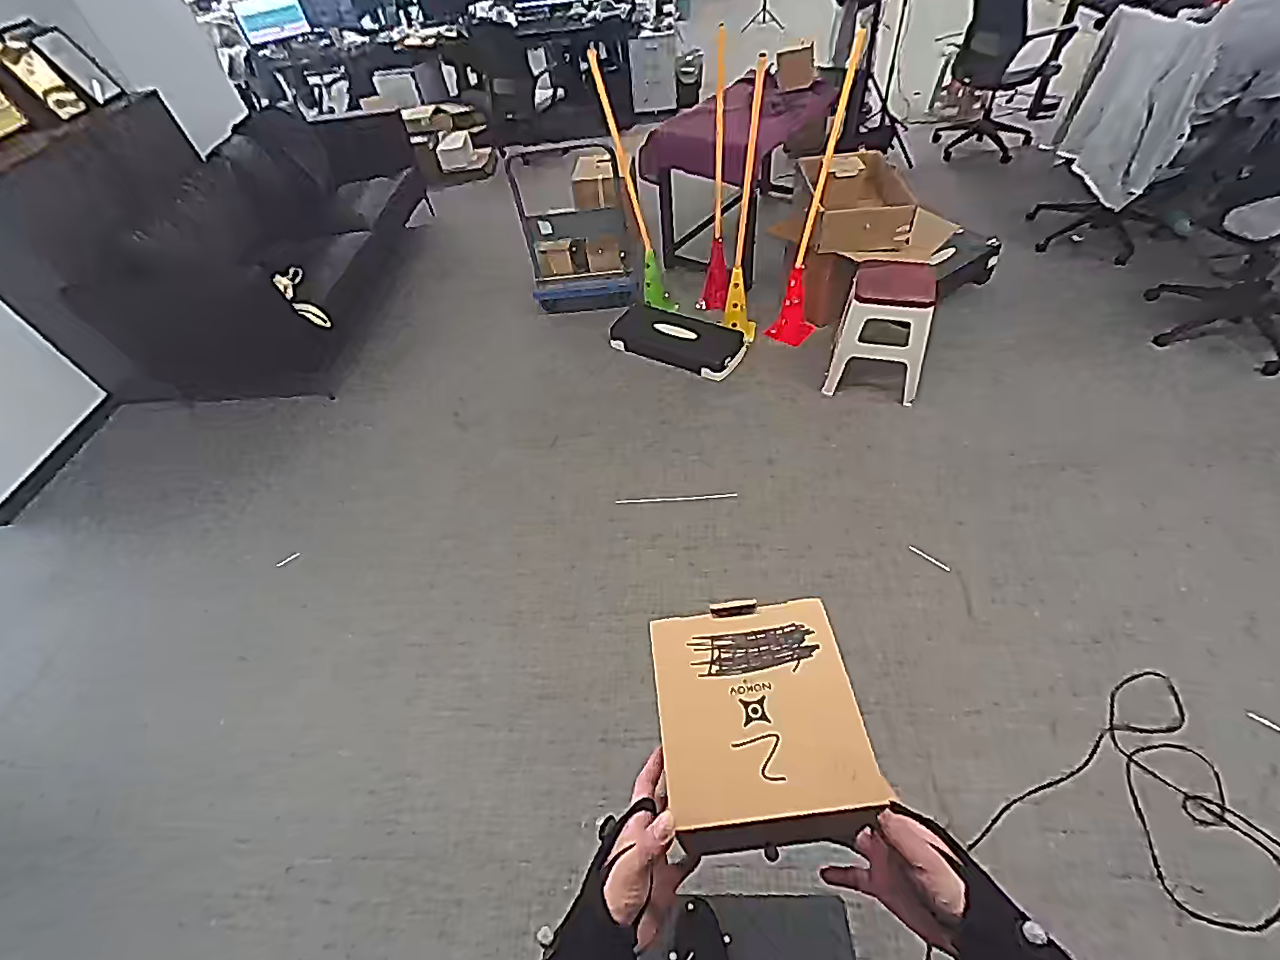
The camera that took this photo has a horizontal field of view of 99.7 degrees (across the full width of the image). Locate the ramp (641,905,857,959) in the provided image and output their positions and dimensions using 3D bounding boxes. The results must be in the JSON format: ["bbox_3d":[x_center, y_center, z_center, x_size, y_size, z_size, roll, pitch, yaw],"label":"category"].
[{"bbox_3d":[0.228,1.337,0.914,0.509,0.206,0.991,-5,48,5],"label":"ramp"}]
